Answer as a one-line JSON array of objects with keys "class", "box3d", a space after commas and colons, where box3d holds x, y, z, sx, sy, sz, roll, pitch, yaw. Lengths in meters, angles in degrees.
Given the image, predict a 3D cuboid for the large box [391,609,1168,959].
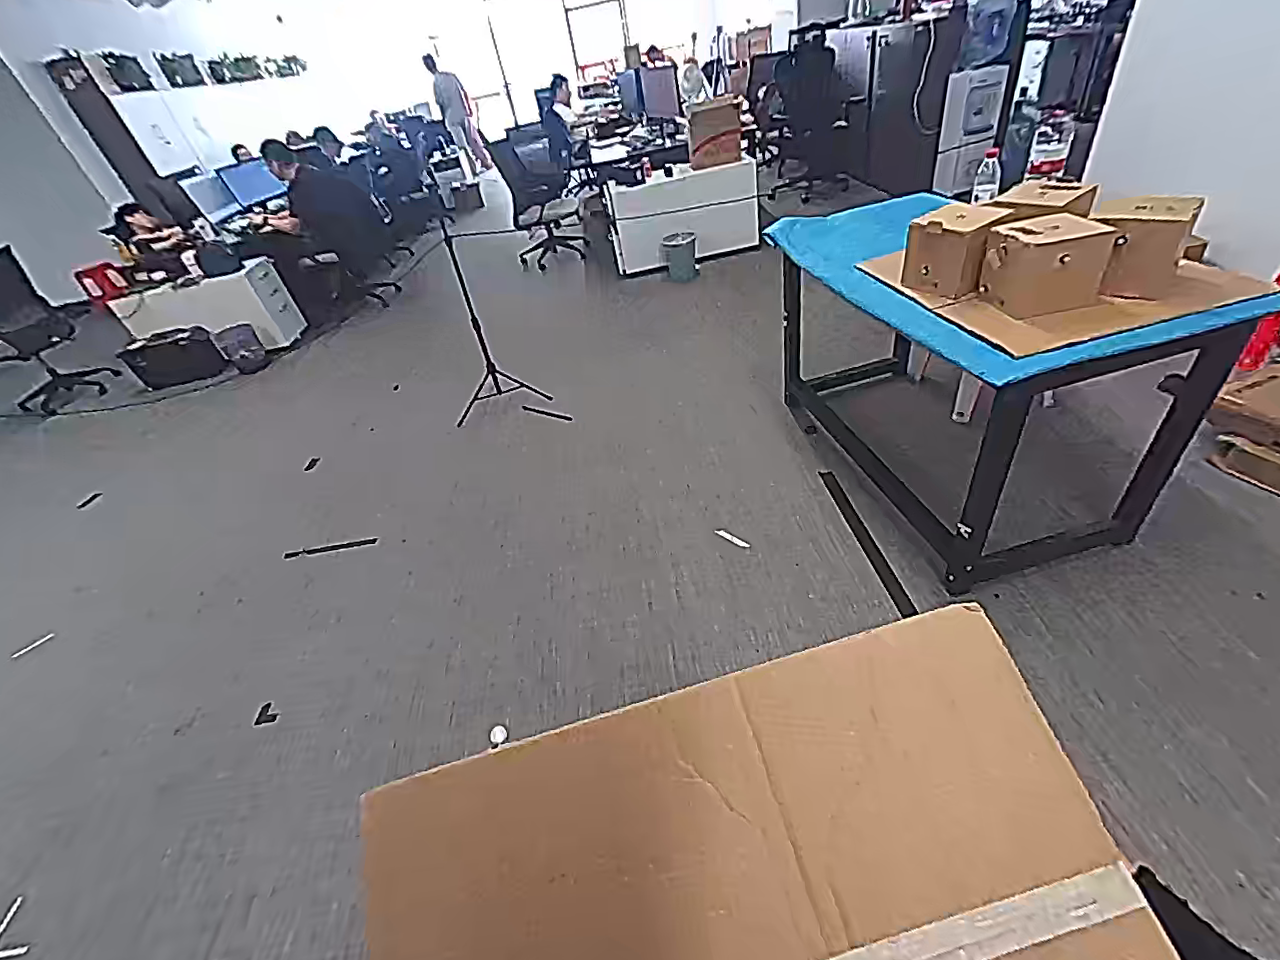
[{"class": "large box", "box3d": [0.085, 0.334, 0.421, 0.408, 0.320, 0.320, -16, 67, -2]}]
